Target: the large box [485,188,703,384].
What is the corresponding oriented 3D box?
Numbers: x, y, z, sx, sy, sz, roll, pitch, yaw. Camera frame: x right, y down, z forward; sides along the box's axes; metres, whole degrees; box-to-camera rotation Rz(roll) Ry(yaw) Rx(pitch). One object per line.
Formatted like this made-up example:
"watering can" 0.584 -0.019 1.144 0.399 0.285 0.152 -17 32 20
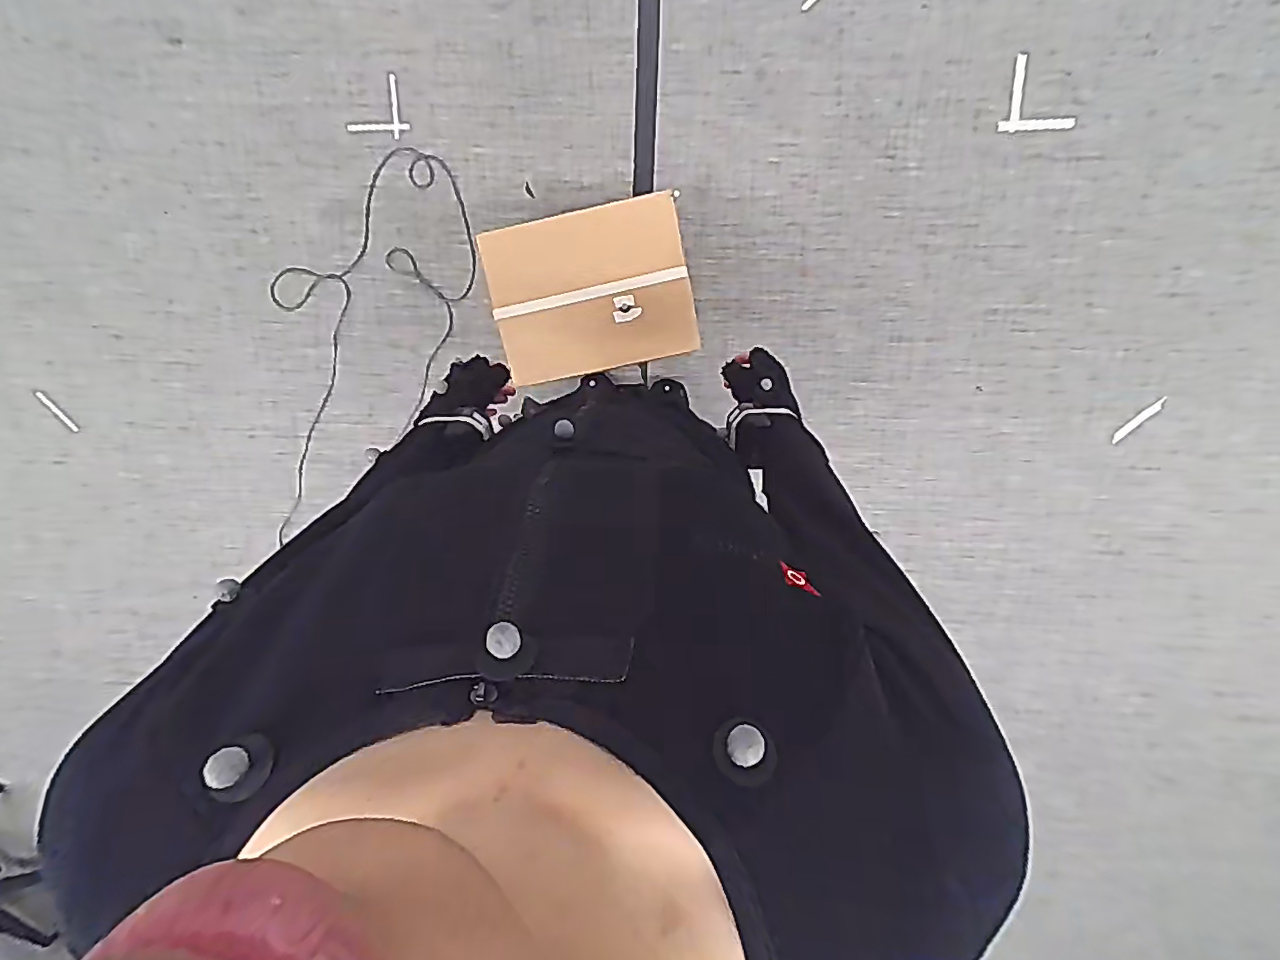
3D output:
"large box" -0.088 -0.419 1.253 0.408 0.320 0.320 -11 102 4
